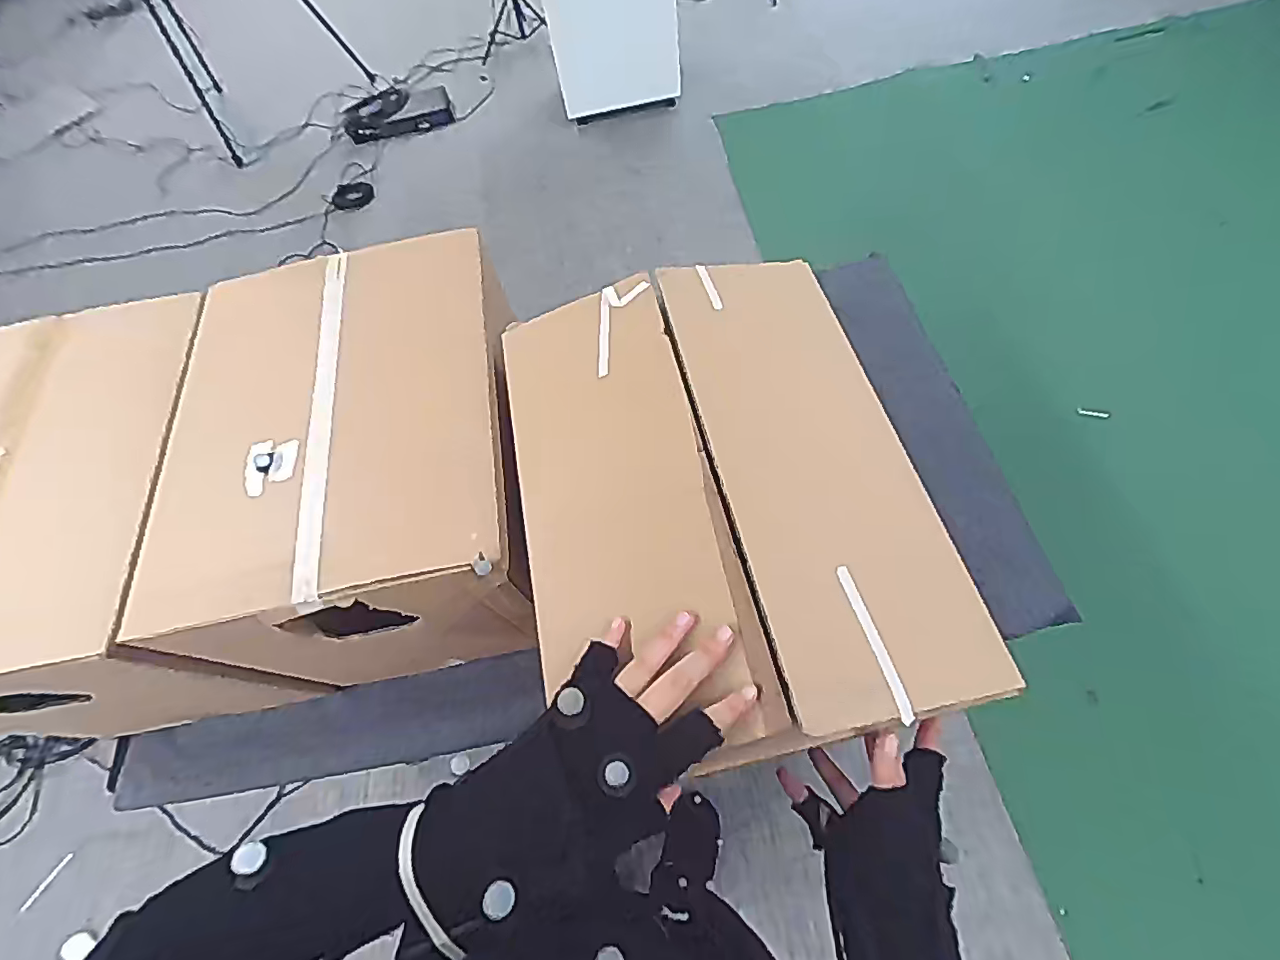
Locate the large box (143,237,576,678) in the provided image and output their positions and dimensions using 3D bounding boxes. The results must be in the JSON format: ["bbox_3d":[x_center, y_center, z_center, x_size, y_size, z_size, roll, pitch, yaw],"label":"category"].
[{"bbox_3d":[-0.278,-0.010,0.657,0.320,0.320,0.408,-12,63,1],"label":"large box"}]
